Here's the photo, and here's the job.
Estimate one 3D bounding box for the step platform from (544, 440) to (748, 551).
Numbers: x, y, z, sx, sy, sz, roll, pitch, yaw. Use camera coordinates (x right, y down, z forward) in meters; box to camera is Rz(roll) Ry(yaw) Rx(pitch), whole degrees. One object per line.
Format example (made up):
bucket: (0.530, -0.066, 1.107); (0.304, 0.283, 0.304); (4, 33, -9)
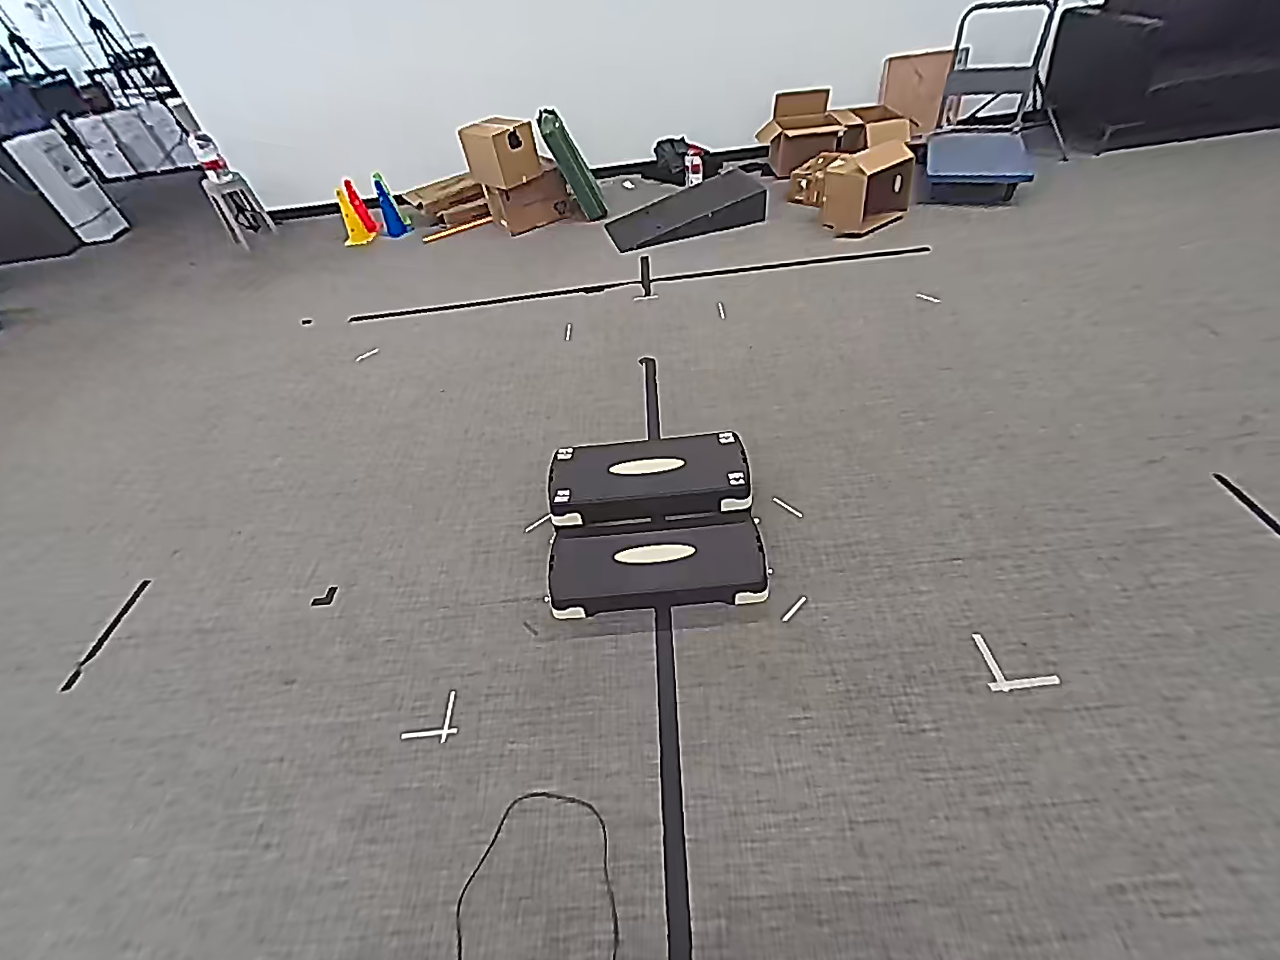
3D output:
step platform: (0.019, 0.046, 1.846); (0.684, 0.204, 0.286); (-6, 46, 2)
